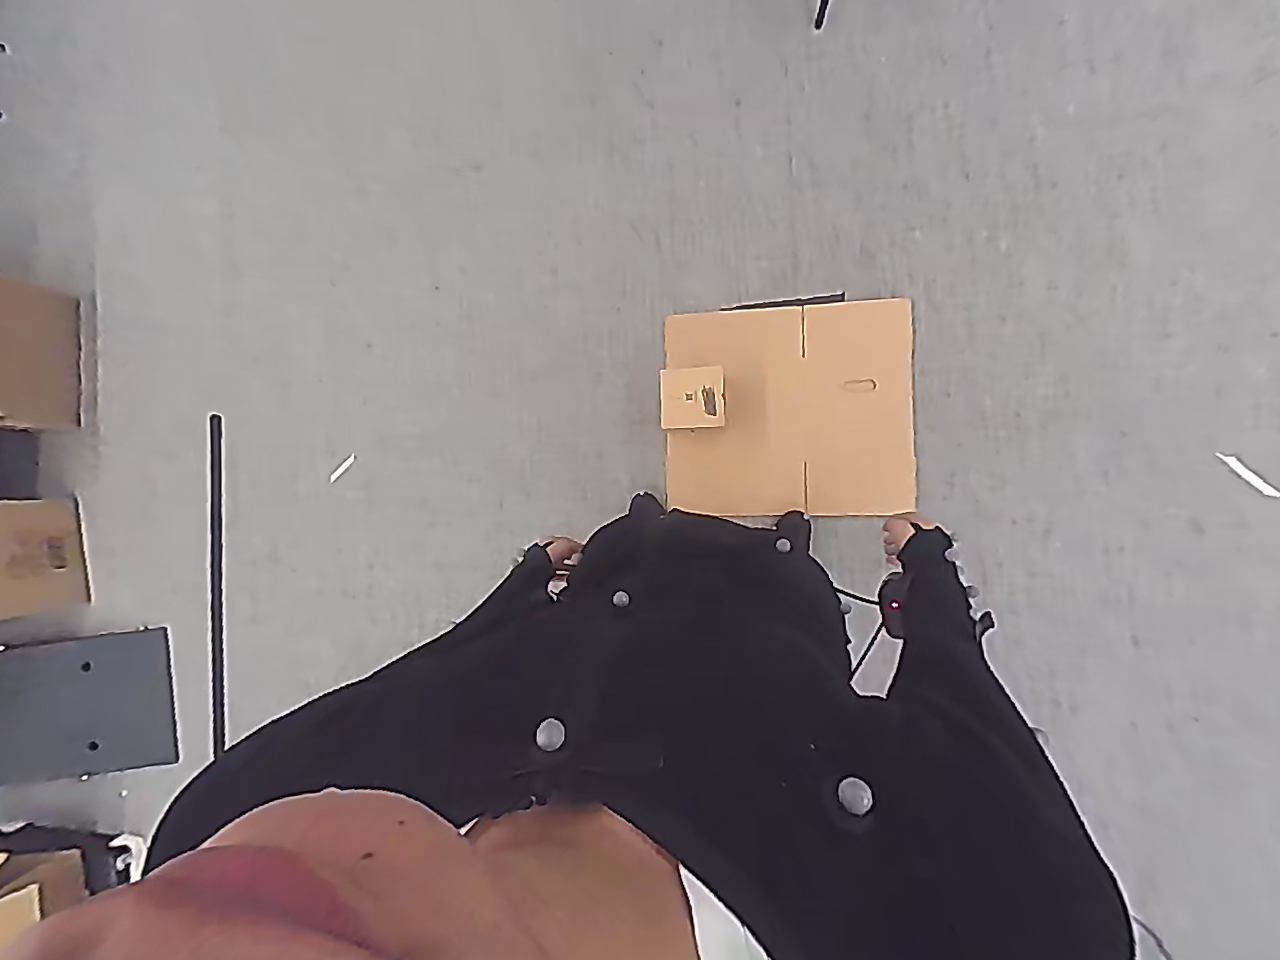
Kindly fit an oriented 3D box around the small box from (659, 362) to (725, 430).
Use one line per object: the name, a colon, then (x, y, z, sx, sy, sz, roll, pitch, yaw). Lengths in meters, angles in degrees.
small box: (0.152, -0.234, 1.538, 0.179, 0.176, 0.168, -1, 89, 12)
